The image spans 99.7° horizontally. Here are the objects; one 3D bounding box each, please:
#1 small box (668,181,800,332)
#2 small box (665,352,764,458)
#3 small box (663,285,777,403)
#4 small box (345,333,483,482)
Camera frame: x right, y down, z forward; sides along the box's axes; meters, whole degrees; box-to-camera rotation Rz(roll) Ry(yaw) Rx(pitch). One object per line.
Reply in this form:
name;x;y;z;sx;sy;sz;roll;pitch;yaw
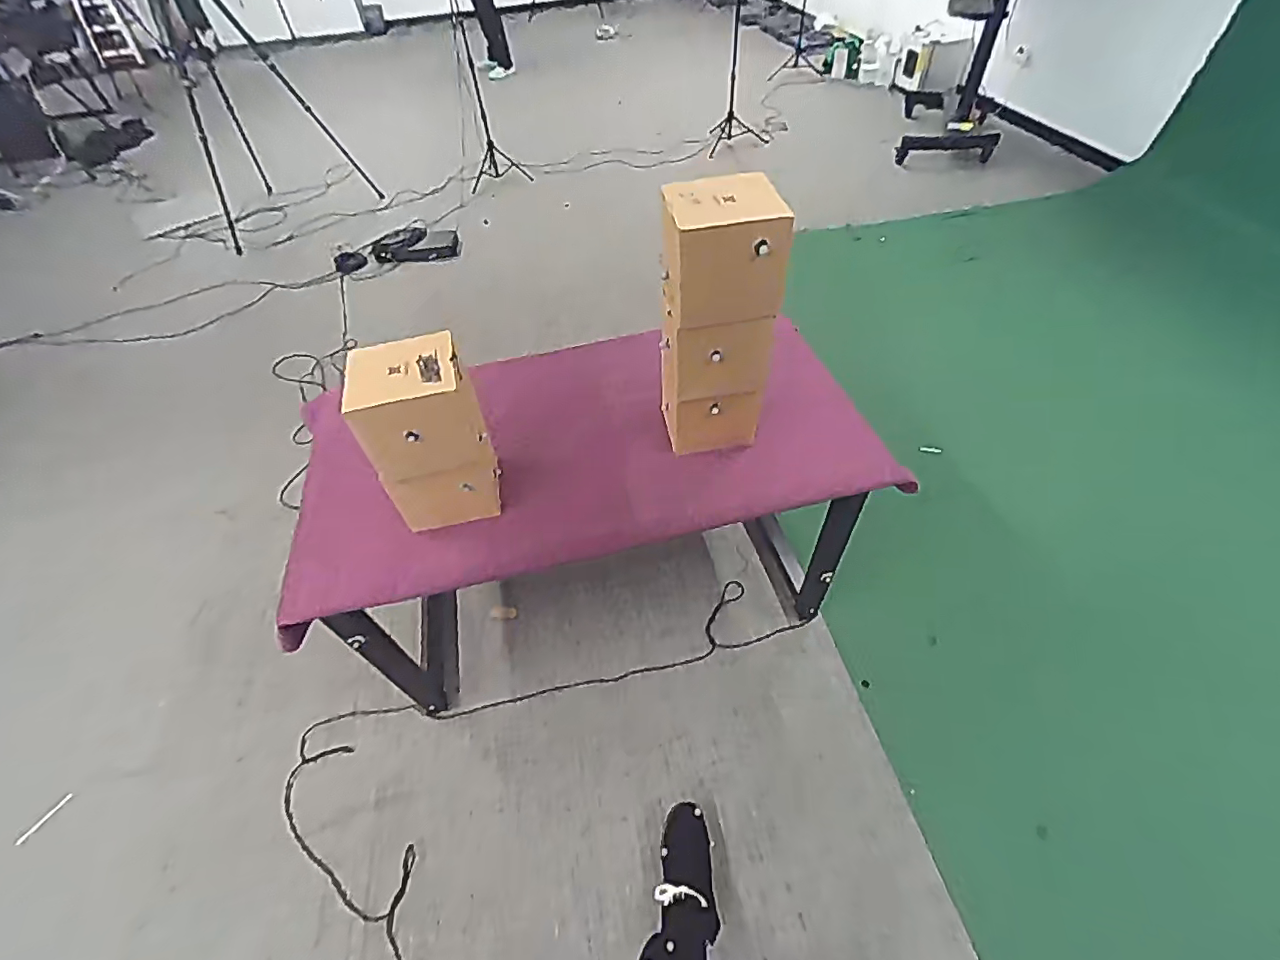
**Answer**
small box;0.144;-0.368;0.897;0.179;0.176;0.168;-8;50;-3
small box;0.151;-0.167;1.159;0.179;0.176;0.168;-9;50;-3
small box;0.145;-0.264;1.026;0.179;0.176;0.168;-8;51;-2
small box;-0.376;-0.122;0.928;0.179;0.176;0.168;-13;51;-8
